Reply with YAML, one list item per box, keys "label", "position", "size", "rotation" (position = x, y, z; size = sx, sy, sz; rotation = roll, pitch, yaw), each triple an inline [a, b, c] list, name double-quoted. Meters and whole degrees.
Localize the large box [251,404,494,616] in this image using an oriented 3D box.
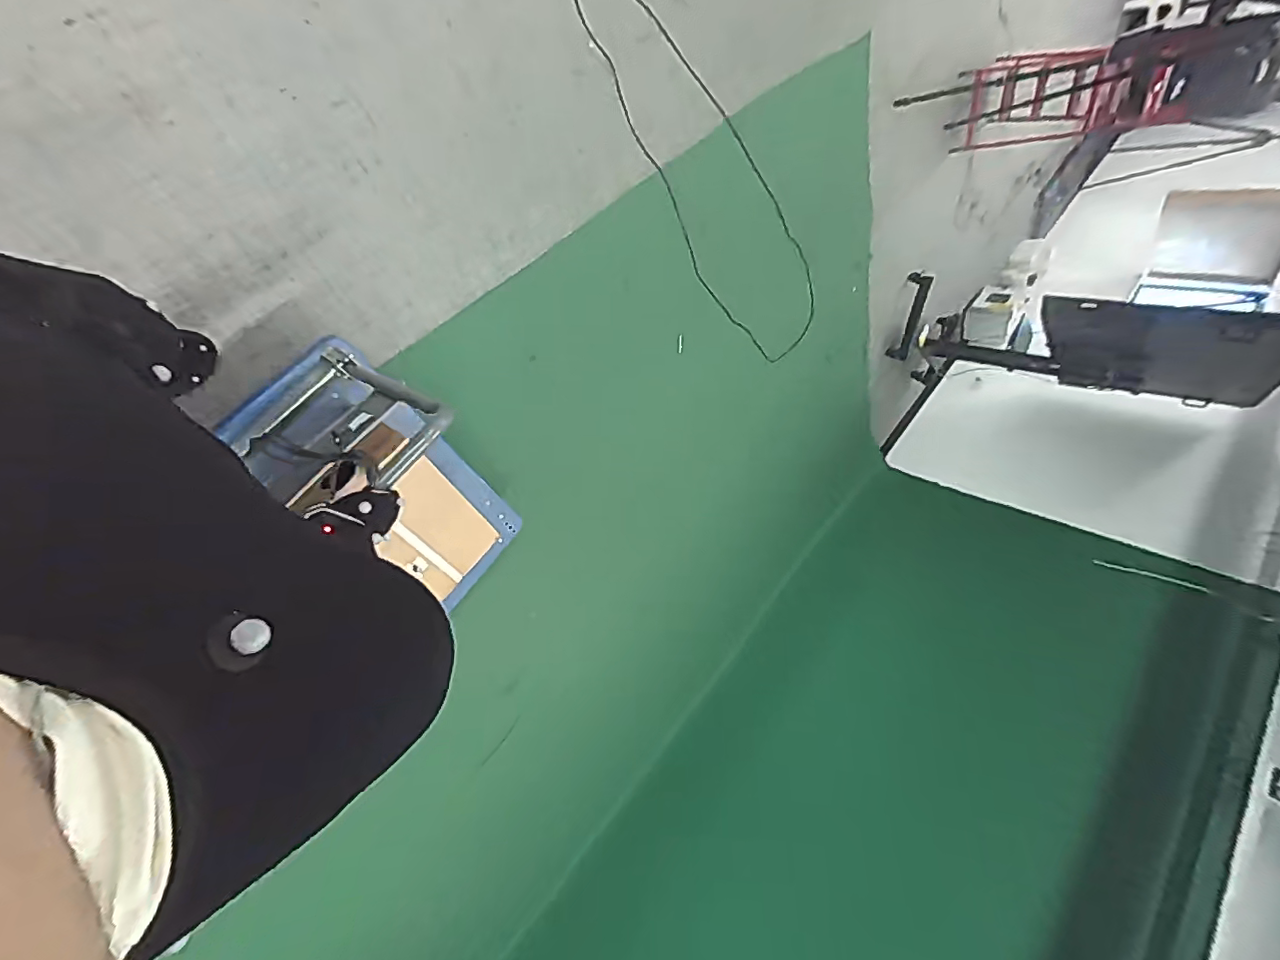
- label: "large box"
  position: [-0.666, 0.074, 1.384]
  size: [0.320, 0.320, 0.408]
  rotation: [-49, 140, -19]
